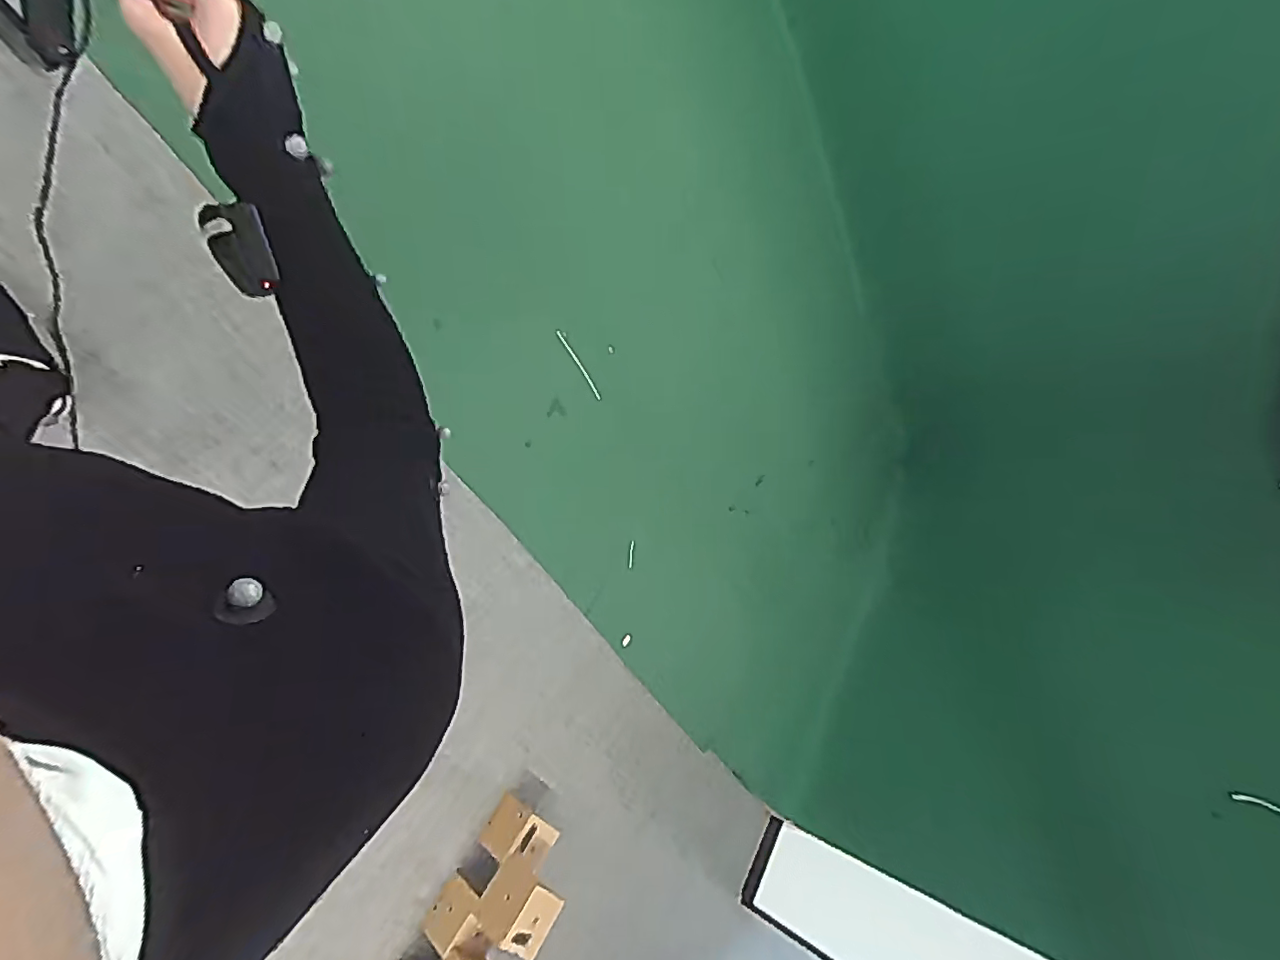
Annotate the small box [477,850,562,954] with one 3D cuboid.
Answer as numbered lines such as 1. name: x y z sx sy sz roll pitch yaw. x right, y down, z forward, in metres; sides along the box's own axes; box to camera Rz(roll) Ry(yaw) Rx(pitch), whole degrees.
1. small box: -0.387 1.322 1.701 0.179 0.176 0.168 -52 127 -31

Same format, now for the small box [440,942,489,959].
1. small box: -0.518 1.510 1.580 0.179 0.176 0.168 -53 126 -27
